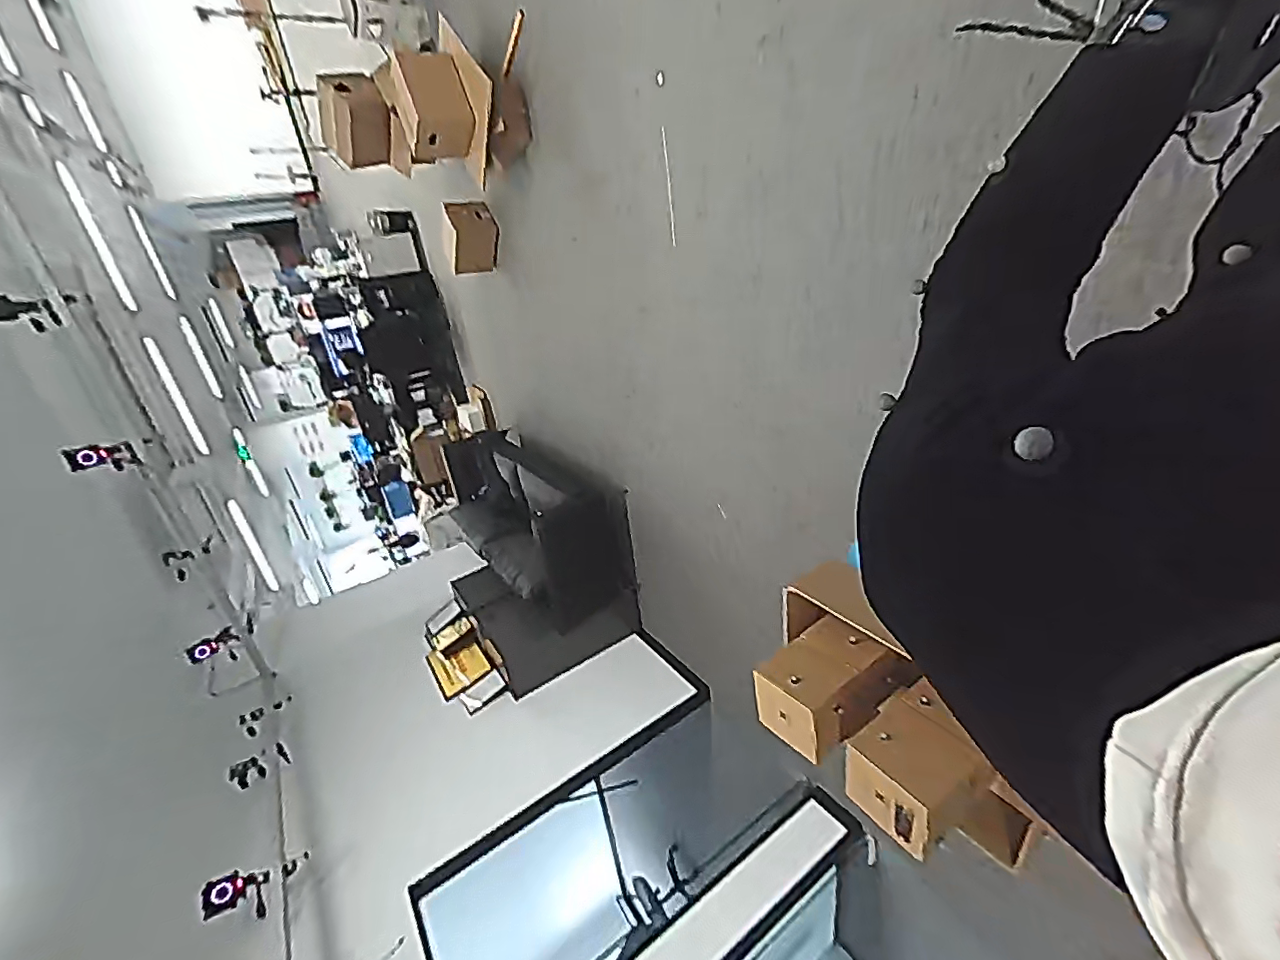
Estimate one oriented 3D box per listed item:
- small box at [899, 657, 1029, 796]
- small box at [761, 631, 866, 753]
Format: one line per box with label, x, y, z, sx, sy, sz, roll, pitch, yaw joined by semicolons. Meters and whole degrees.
small box;0.691;0.516;1.159;0.179;0.176;0.168;32;138;52
small box;0.414;0.490;1.280;0.179;0.176;0.168;25;132;53
